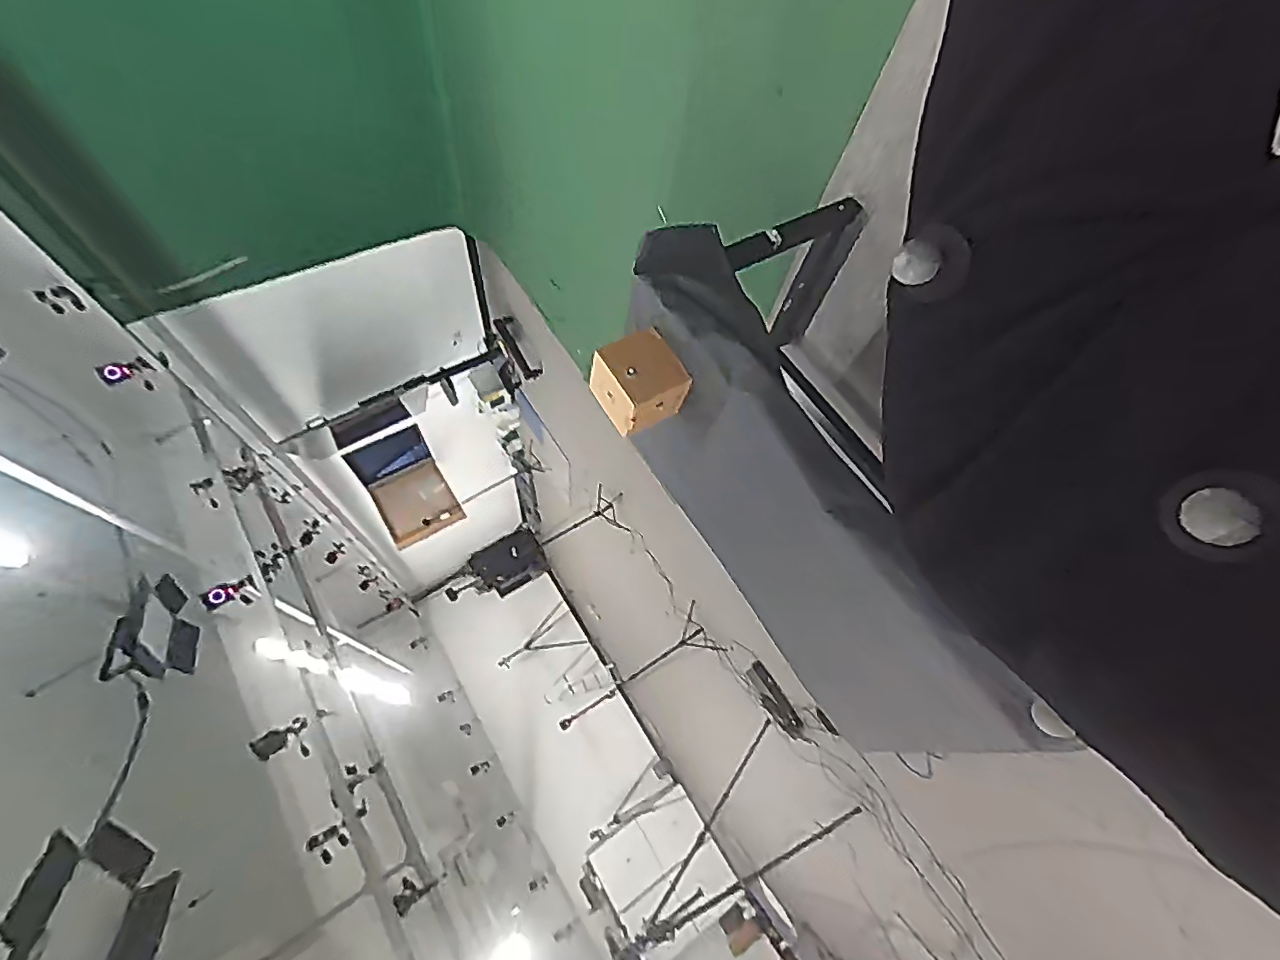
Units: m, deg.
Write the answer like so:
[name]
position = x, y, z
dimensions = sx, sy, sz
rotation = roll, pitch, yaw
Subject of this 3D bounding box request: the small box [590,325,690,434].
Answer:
[small box]
position = -0.001, -0.249, 1.327
dimensions = 0.179, 0.176, 0.168
rotation = 57, 159, 13
